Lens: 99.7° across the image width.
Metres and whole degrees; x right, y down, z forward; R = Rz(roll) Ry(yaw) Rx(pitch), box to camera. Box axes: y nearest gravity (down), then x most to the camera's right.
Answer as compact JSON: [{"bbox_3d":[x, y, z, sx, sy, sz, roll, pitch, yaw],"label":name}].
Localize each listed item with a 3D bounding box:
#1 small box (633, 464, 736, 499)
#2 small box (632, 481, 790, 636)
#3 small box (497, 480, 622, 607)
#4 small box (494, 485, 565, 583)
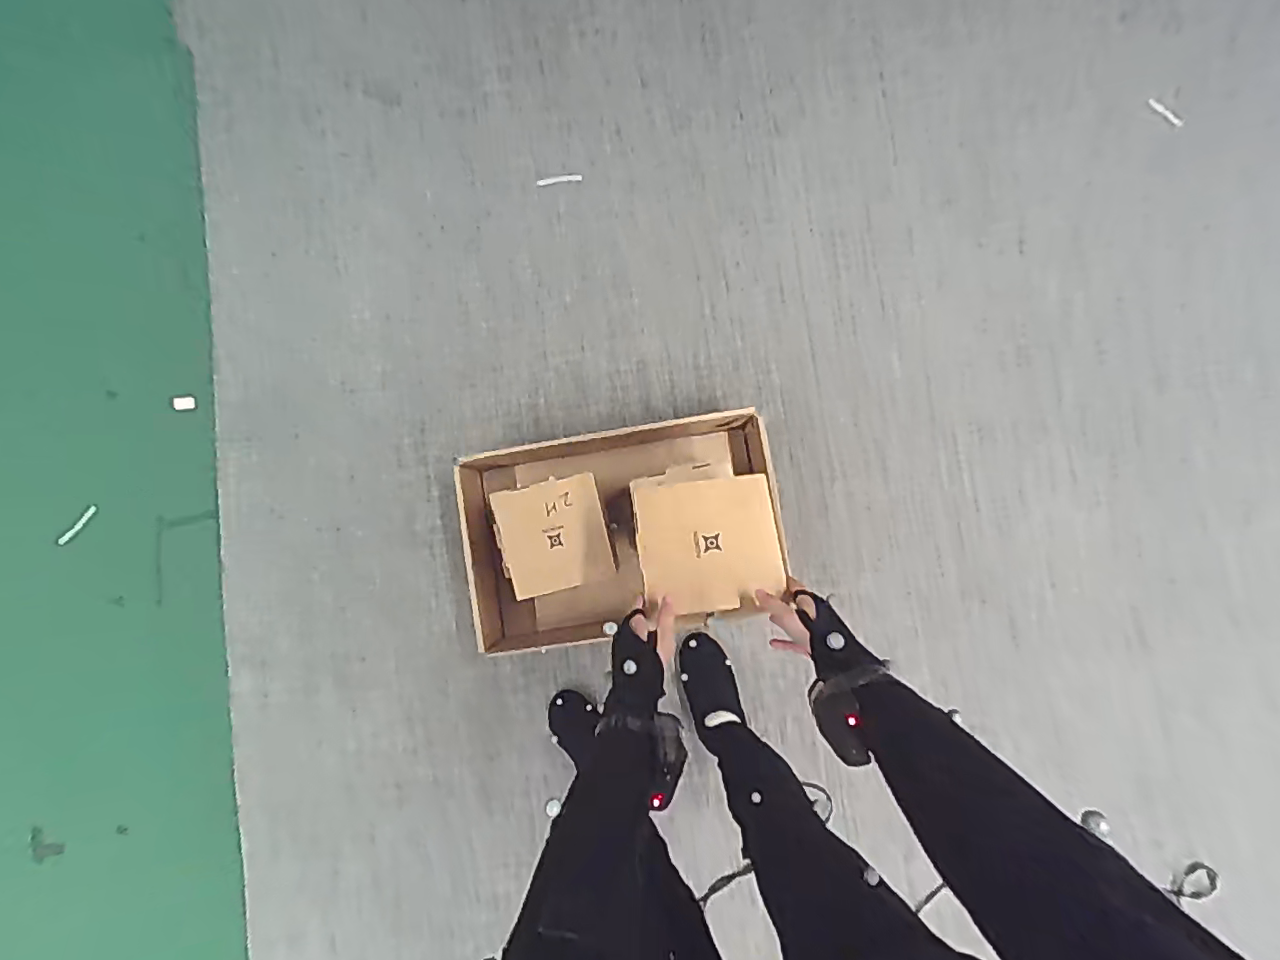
[{"bbox_3d":[0.086,0.080,0.935,0.168,0.176,0.179,-12,85,2],"label":"small box"},{"bbox_3d":[0.090,0.116,0.745,0.179,0.176,0.168,-9,68,2],"label":"small box"},{"bbox_3d":[-0.131,0.104,0.945,0.168,0.176,0.179,-15,87,-1],"label":"small box"},{"bbox_3d":[-0.178,0.106,1.109,0.179,0.176,0.168,-13,87,-1],"label":"small box"}]
